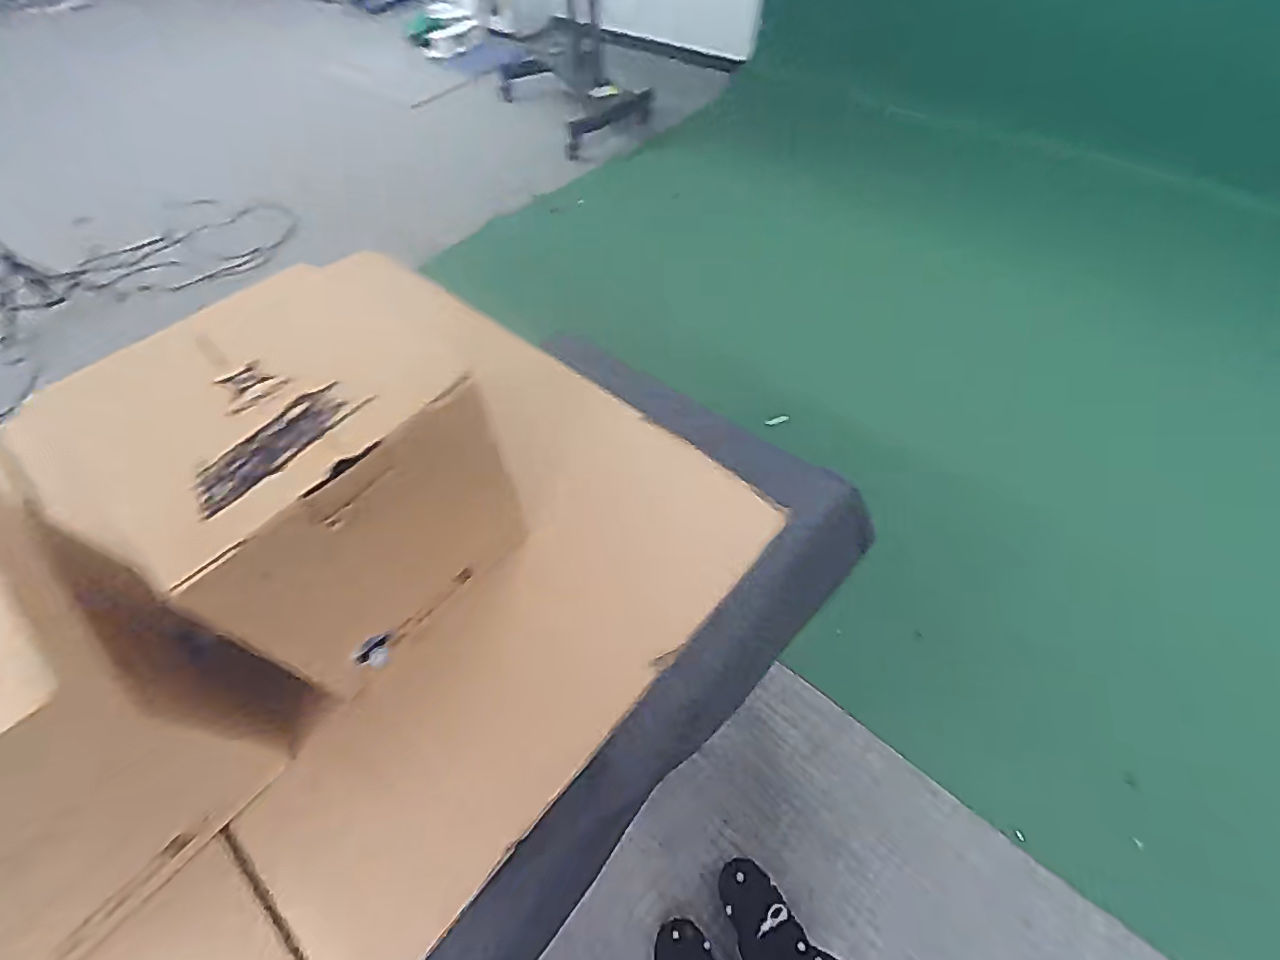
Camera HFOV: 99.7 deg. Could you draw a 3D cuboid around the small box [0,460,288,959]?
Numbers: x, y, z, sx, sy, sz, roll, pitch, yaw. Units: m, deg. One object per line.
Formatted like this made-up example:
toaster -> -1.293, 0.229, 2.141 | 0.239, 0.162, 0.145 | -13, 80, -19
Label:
small box -> -0.337, 0.120, 0.279 | 0.179, 0.176, 0.168 | 35, 64, 23
